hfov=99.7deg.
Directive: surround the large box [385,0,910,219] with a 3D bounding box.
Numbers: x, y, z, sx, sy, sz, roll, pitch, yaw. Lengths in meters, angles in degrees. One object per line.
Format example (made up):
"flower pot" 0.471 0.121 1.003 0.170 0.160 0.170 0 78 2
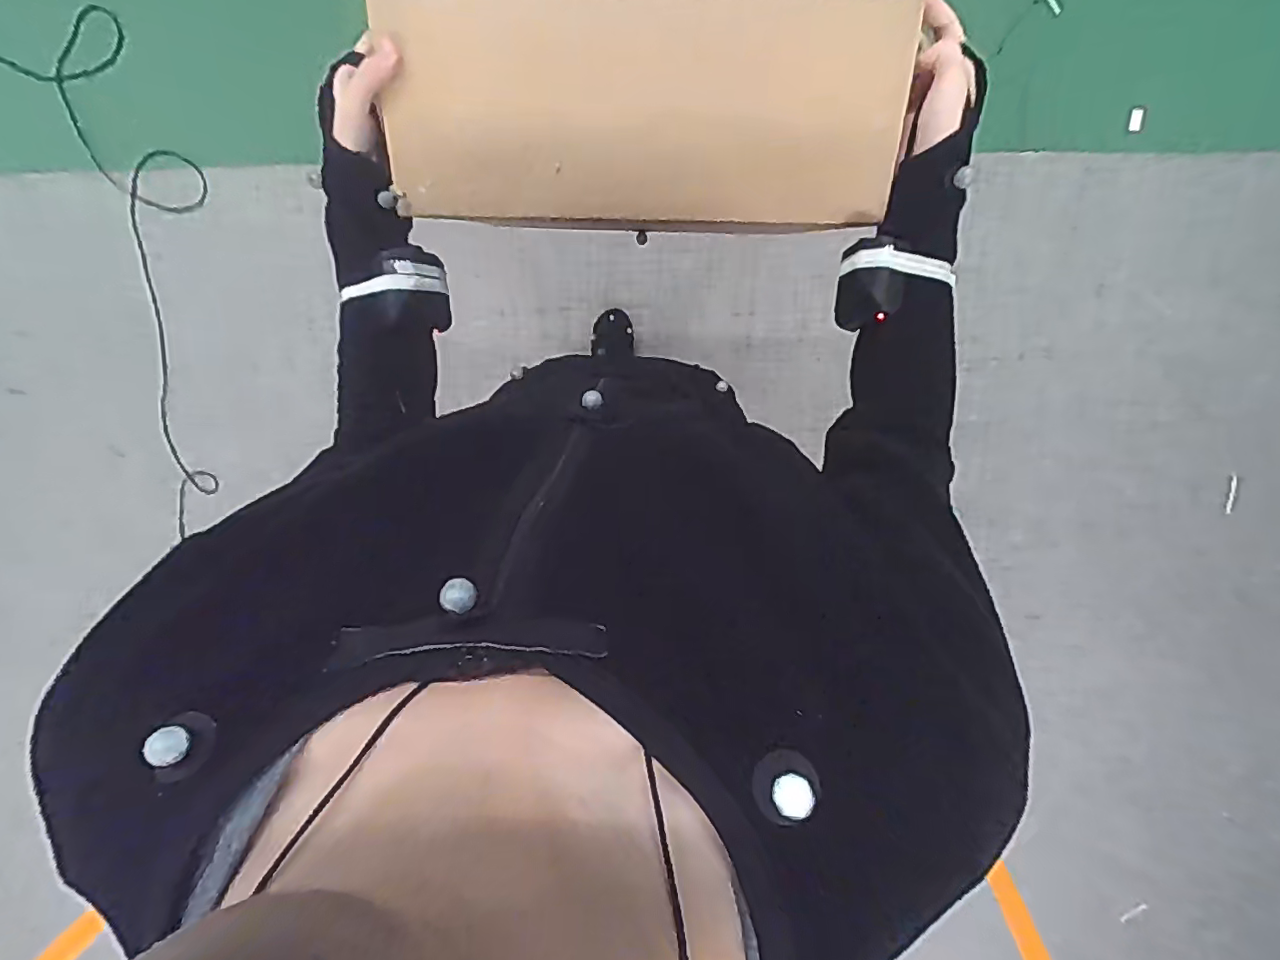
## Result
"large box" 0.009 -0.432 0.536 0.408 0.320 0.320 2 113 1
